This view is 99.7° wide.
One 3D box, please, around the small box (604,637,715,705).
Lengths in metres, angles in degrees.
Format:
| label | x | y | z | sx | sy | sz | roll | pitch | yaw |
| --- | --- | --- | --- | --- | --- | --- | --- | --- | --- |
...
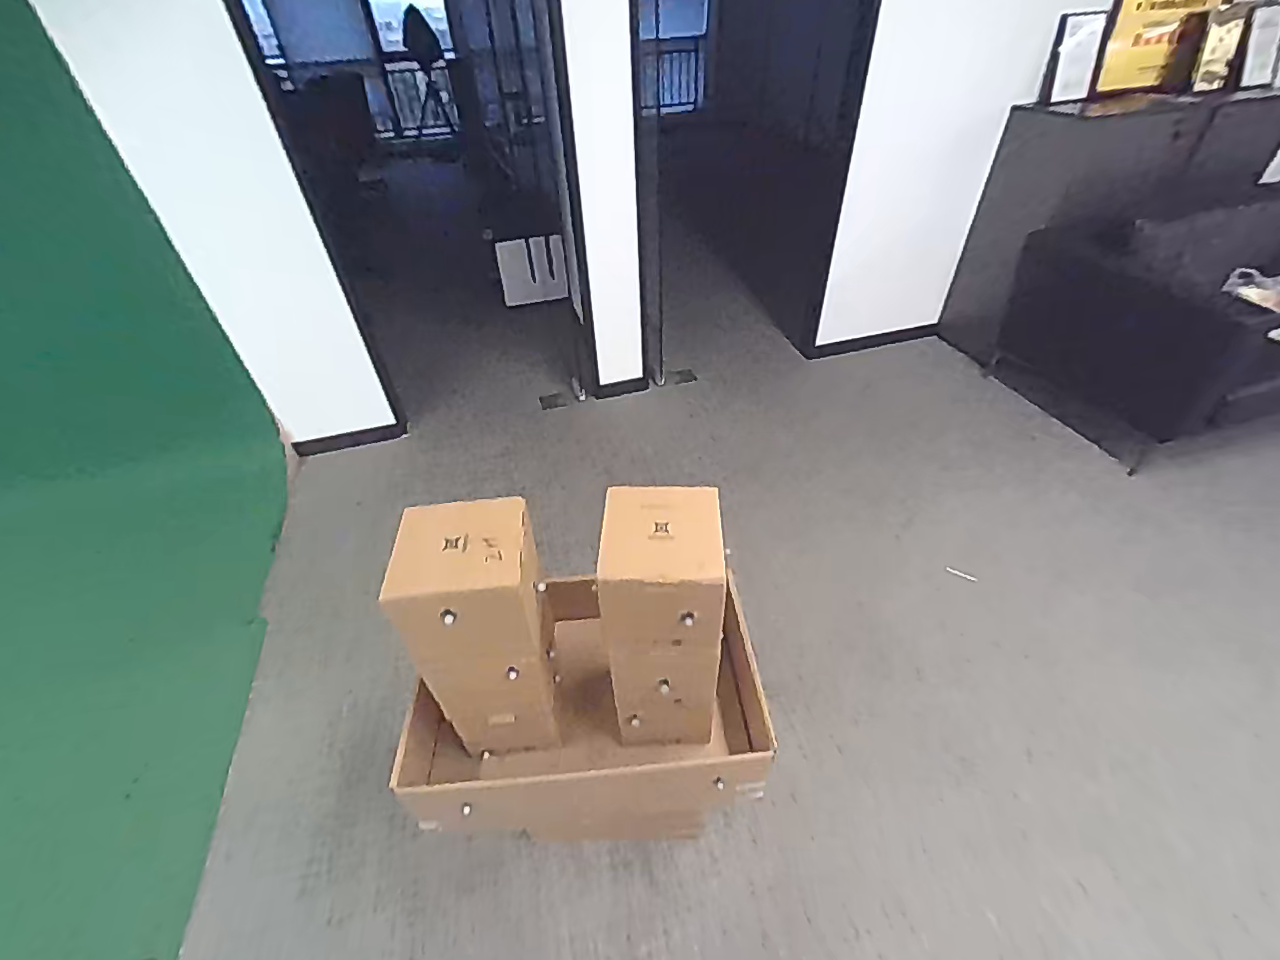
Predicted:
| label | x | y | z | sx | sy | sz | roll | pitch | yaw |
| --- | --- | --- | --- | --- | --- | --- | --- | --- | --- |
| small box | 0.035 | 0.256 | 0.898 | 0.168 | 0.176 | 0.179 | 0 | 42 | 2 |

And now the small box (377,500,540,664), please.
| label | x | y | z | sx | sy | sz | roll | pitch | yaw |
| --- | --- | --- | --- | --- | --- | --- | --- | --- | --- |
| small box | -0.247 | 0.150 | 0.783 | 0.179 | 0.176 | 0.168 | -4 | 42 | -5 |

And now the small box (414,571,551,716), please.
| label | x | y | z | sx | sy | sz | roll | pitch | yaw |
| --- | --- | --- | --- | --- | --- | --- | --- | --- | --- |
| small box | -0.247 | 0.272 | 0.894 | 0.179 | 0.176 | 0.168 | -4 | 42 | -5 |

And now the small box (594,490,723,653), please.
| label | x | y | z | sx | sy | sz | roll | pitch | yaw |
| --- | --- | --- | --- | --- | --- | --- | --- | --- | --- |
| small box | 0.030 | 0.134 | 0.789 | 0.168 | 0.176 | 0.179 | 1 | 41 | 3 |
